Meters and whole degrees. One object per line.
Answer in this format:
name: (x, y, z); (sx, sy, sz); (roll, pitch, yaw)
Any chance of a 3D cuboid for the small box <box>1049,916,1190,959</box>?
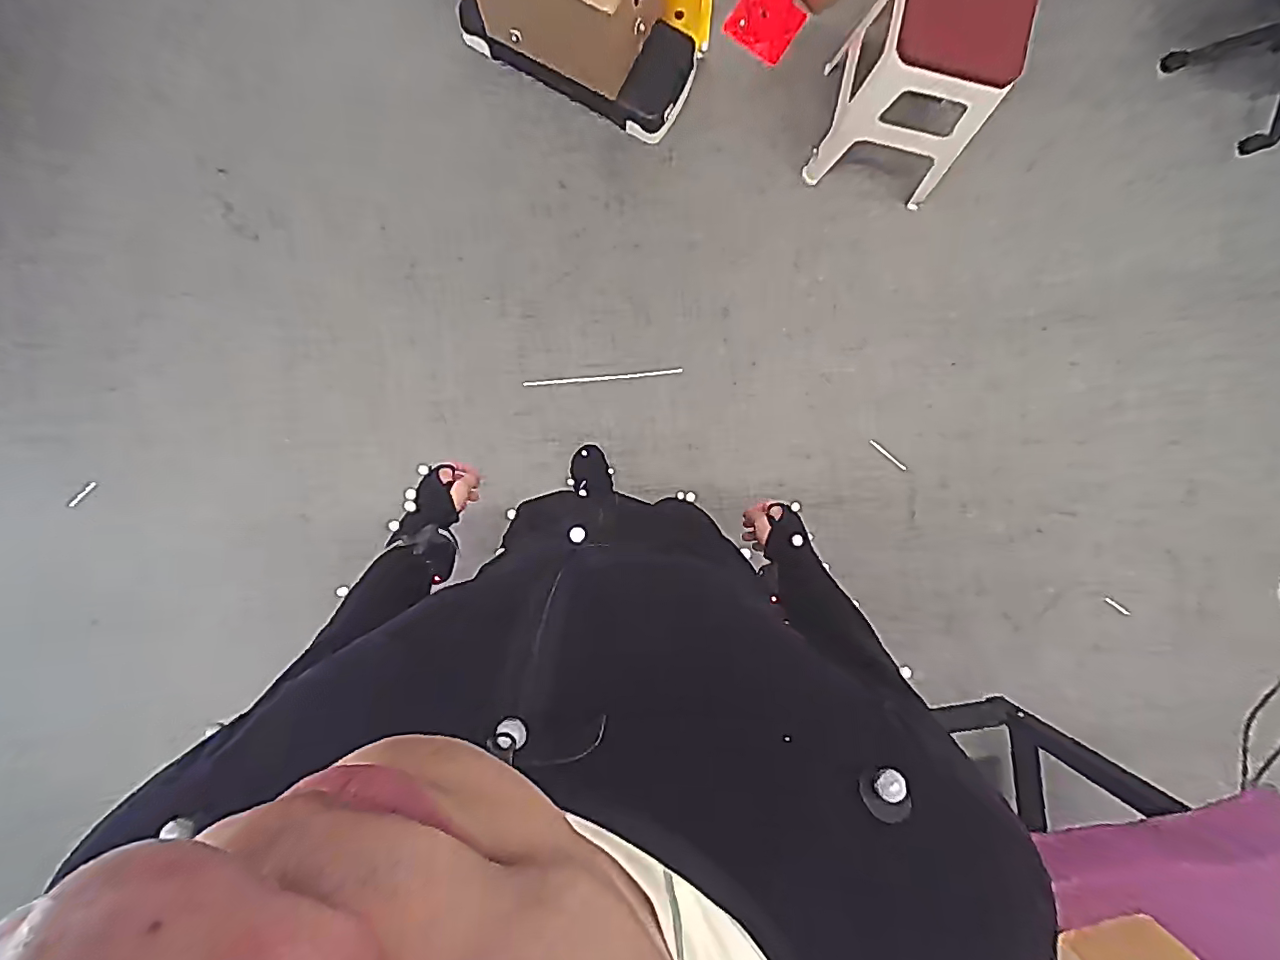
small box: (0.824, 0.863, 0.882); (0.179, 0.176, 0.168); (-10, 90, -2)
